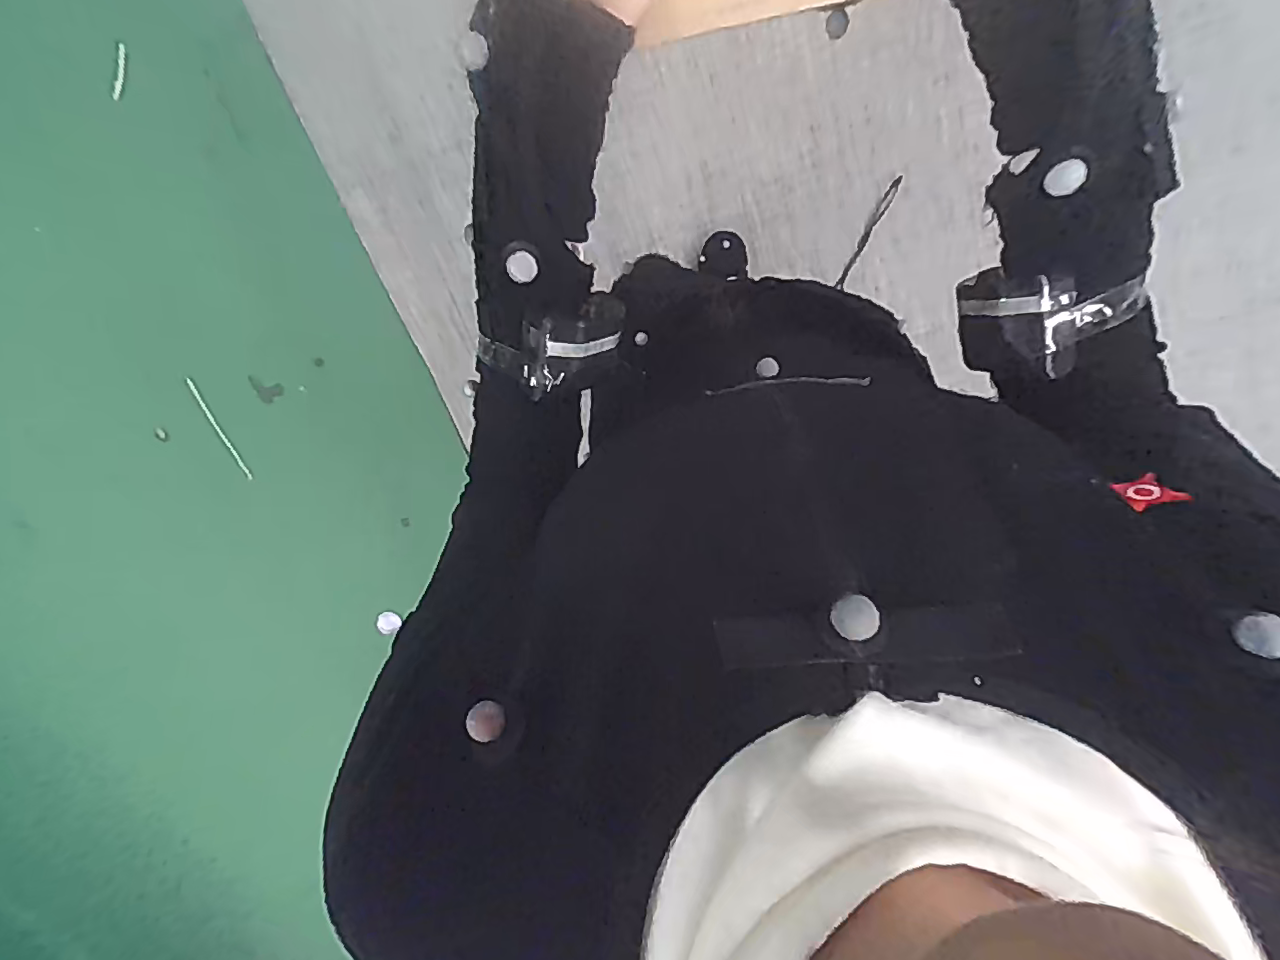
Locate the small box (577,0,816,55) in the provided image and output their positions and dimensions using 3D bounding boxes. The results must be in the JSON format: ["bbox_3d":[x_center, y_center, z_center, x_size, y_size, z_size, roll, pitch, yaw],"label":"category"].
[{"bbox_3d":[0.047,-0.322,0.250,0.179,0.176,0.168,-8,128,9],"label":"small box"}]
